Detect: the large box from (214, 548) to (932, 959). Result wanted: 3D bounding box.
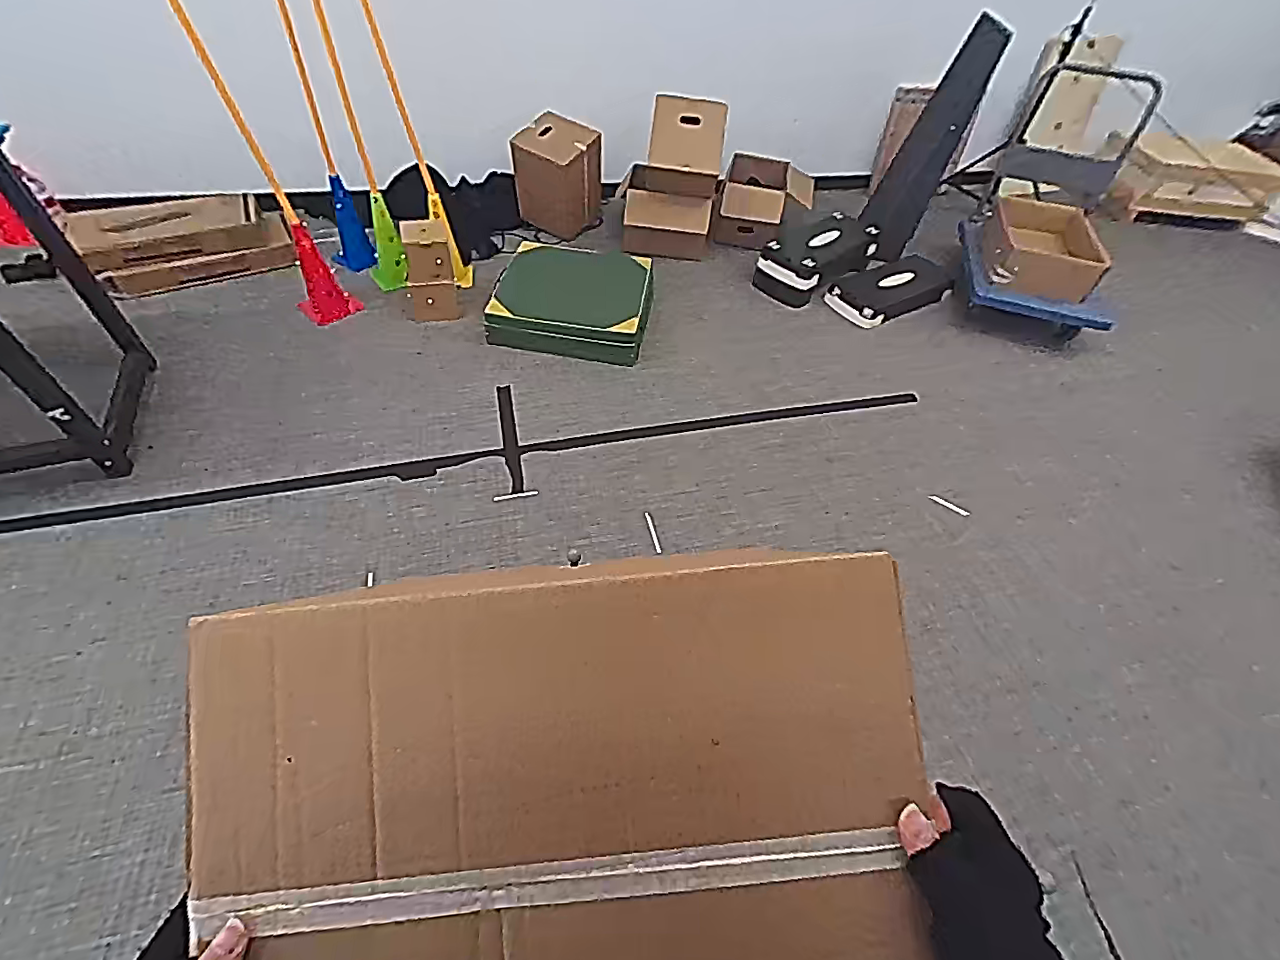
[{"bbox_3d":[-0.038,0.236,0.456,0.408,0.320,0.320,-5,84,-1],"label":"large box"}]
